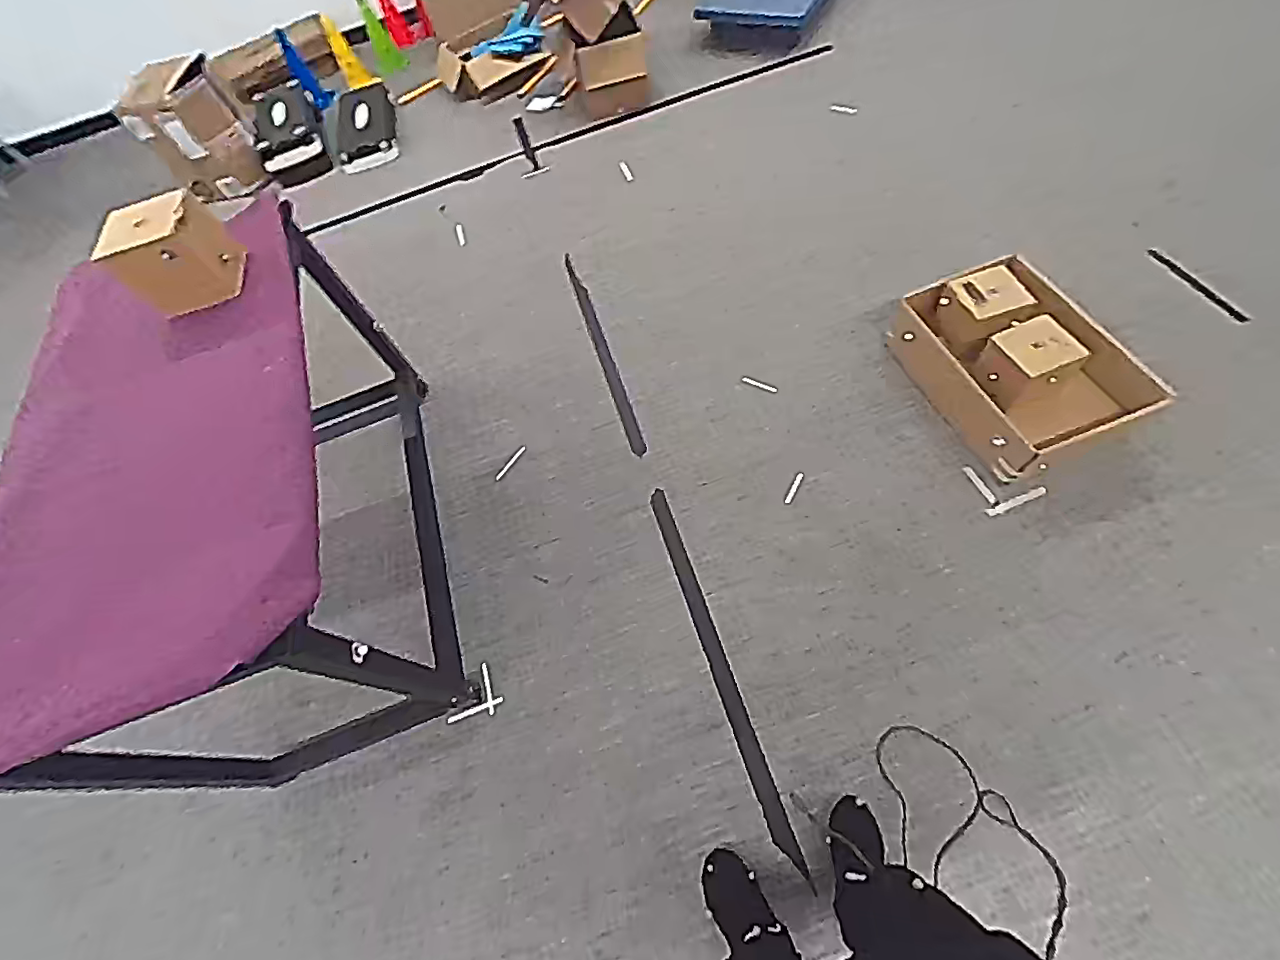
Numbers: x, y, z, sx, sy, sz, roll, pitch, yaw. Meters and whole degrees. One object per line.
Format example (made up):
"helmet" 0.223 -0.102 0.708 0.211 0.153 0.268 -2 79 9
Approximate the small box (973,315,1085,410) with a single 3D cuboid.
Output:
"small box" 1.076 -0.324 1.522 0.179 0.176 0.168 -22 60 -2

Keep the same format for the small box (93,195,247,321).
"small box" -1.020 -0.480 1.189 0.179 0.176 0.168 -18 60 2
